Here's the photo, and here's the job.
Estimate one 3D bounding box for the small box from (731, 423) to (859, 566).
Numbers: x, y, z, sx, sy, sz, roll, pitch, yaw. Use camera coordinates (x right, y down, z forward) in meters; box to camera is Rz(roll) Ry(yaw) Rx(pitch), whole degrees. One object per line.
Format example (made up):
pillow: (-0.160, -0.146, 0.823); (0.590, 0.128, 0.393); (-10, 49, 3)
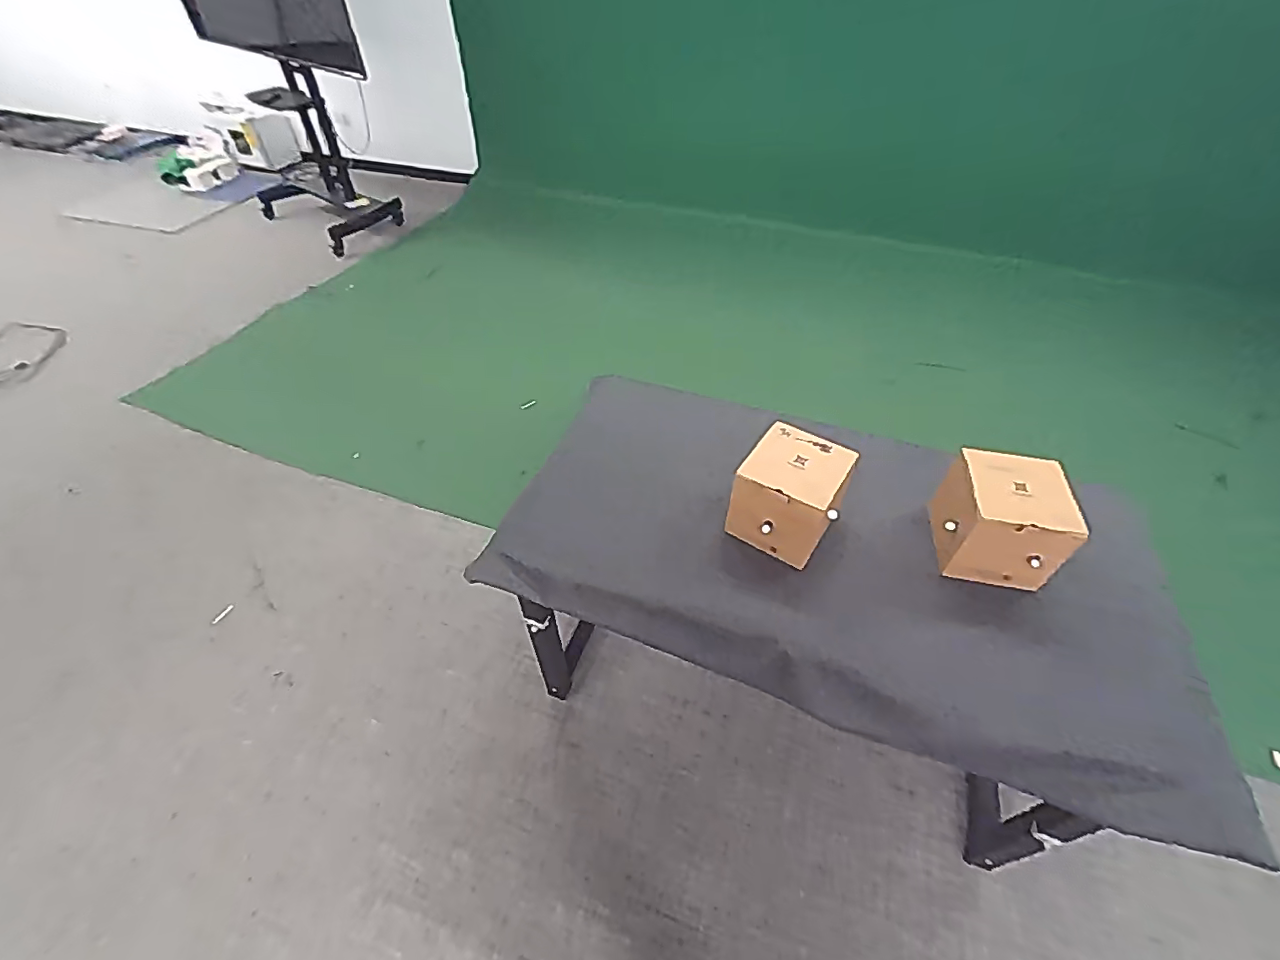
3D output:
small box: (0.286, 0.030, 1.026); (0.168, 0.176, 0.179); (28, 52, 23)

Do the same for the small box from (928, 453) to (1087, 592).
small box: (0.652, 0.080, 0.986); (0.168, 0.176, 0.179); (10, 46, 7)
